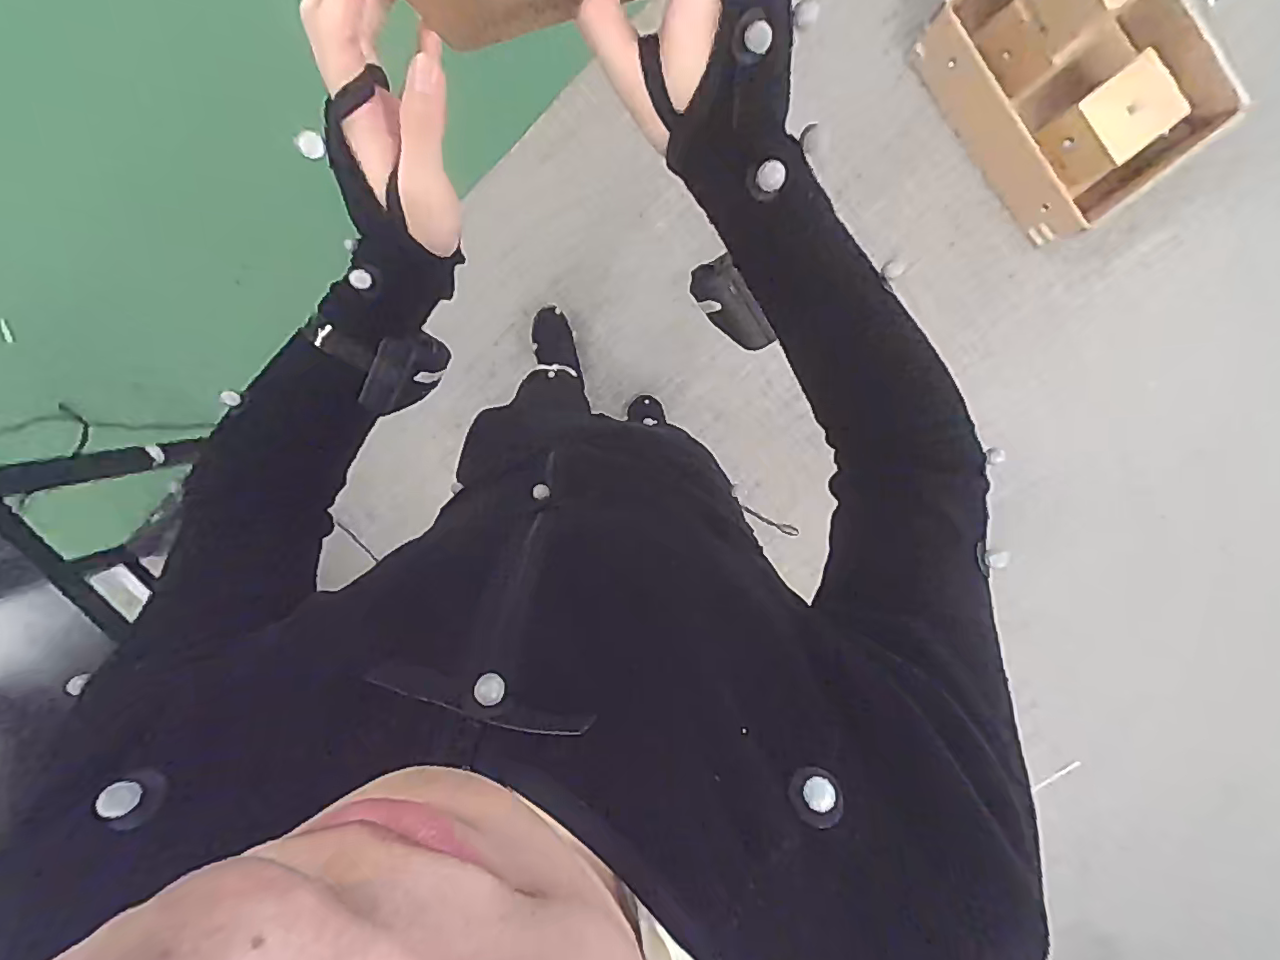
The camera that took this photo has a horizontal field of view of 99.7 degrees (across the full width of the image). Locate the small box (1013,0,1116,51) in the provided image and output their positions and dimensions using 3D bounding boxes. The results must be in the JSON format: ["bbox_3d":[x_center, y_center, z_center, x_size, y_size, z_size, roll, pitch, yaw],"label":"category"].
[{"bbox_3d":[0.896,-1.026,1.079,0.179,0.176,0.168,-33,98,8],"label":"small box"}]

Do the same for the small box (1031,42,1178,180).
[{"bbox_3d":[1.073,-0.852,1.273,0.179,0.176,0.168,-39,96,10],"label":"small box"}]

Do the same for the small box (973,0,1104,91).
[{"bbox_3d":[0.907,-1.053,1.240,0.179,0.176,0.168,-40,98,10],"label":"small box"}]

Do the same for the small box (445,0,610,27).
[{"bbox_3d":[-0.056,-0.359,0.256,0.168,0.176,0.179,-9,108,7],"label":"small box"}]
